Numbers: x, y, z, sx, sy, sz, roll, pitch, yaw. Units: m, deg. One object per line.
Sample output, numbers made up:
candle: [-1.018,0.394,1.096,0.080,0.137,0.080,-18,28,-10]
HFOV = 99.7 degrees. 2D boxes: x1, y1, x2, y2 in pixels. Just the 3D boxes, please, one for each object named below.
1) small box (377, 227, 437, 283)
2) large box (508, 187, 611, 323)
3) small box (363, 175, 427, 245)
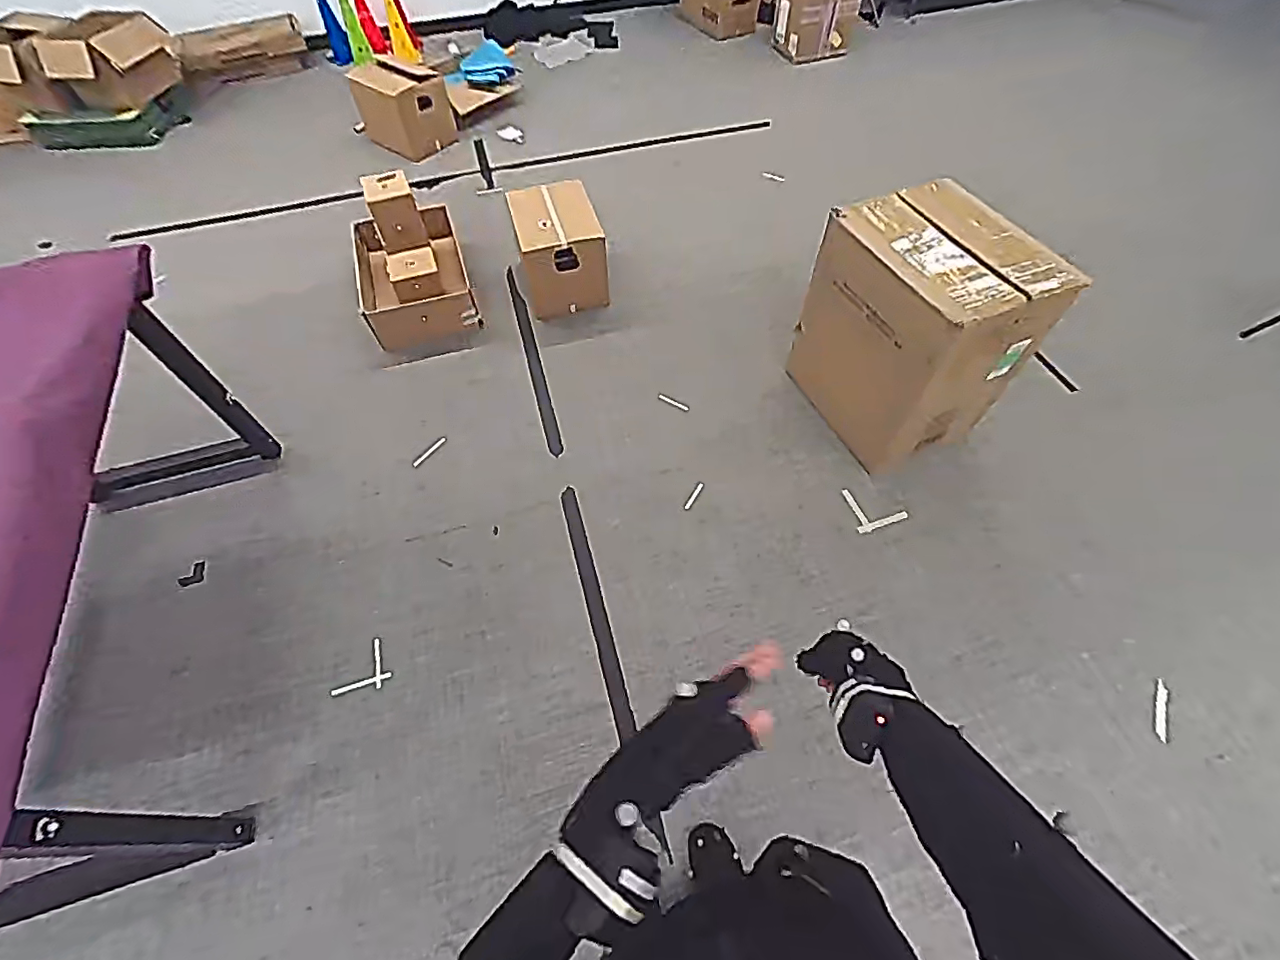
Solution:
small box: [-0.959,-0.953,2.244,0.179,0.176,0.168,-24,61,-15]
large box: [-0.320,-0.909,2.186,0.320,0.320,0.408,-15,59,-8]
small box: [-0.955,-1.053,2.112,0.168,0.176,0.179,-20,61,-12]
